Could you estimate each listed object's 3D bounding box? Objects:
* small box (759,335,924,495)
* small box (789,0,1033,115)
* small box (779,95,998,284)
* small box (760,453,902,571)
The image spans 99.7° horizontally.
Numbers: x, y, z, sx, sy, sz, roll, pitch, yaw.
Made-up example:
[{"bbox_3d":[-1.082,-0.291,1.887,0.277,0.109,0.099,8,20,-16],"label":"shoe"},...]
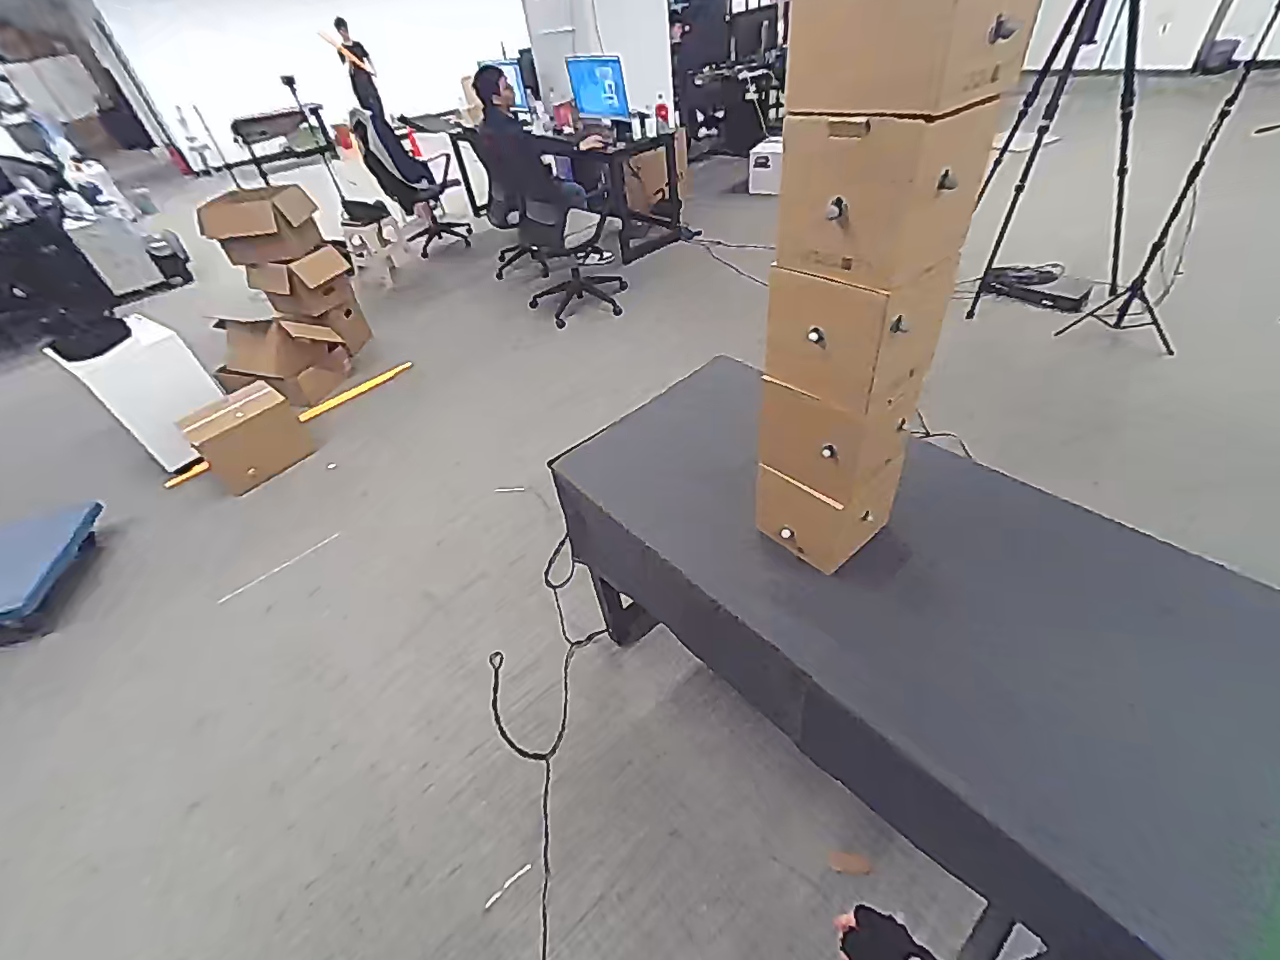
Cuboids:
[{"bbox_3d":[0.307,-0.100,0.855,0.168,0.176,0.179,-34,47,-27],"label":"small box"},{"bbox_3d":[0.268,-0.475,0.539,0.168,0.176,0.179,-32,46,-26],"label":"small box"},{"bbox_3d":[0.286,-0.354,0.650,0.179,0.176,0.168,-34,47,-26],"label":"small box"},{"bbox_3d":[0.326,0.024,0.959,0.179,0.176,0.168,-33,46,-24],"label":"small box"}]
